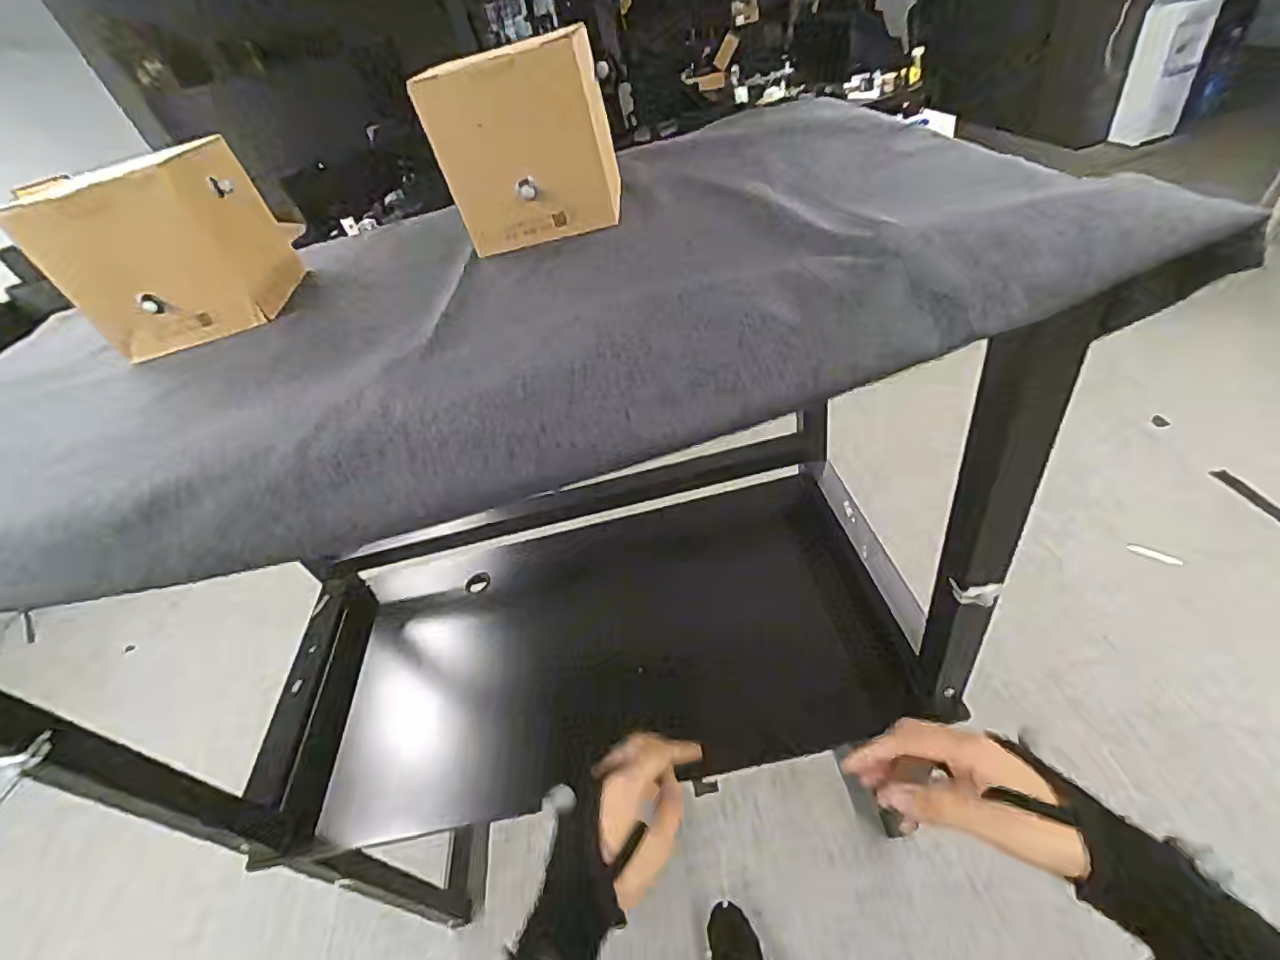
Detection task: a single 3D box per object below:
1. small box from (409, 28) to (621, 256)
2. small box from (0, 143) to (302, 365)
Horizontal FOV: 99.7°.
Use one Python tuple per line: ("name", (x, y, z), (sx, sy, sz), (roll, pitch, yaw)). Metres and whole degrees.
("small box", (-0.121, -0.376, 0.608), (0.168, 0.176, 0.179), (-10, 43, 8))
("small box", (-0.528, -0.258, 0.619), (0.168, 0.176, 0.179), (-18, 42, -1))
